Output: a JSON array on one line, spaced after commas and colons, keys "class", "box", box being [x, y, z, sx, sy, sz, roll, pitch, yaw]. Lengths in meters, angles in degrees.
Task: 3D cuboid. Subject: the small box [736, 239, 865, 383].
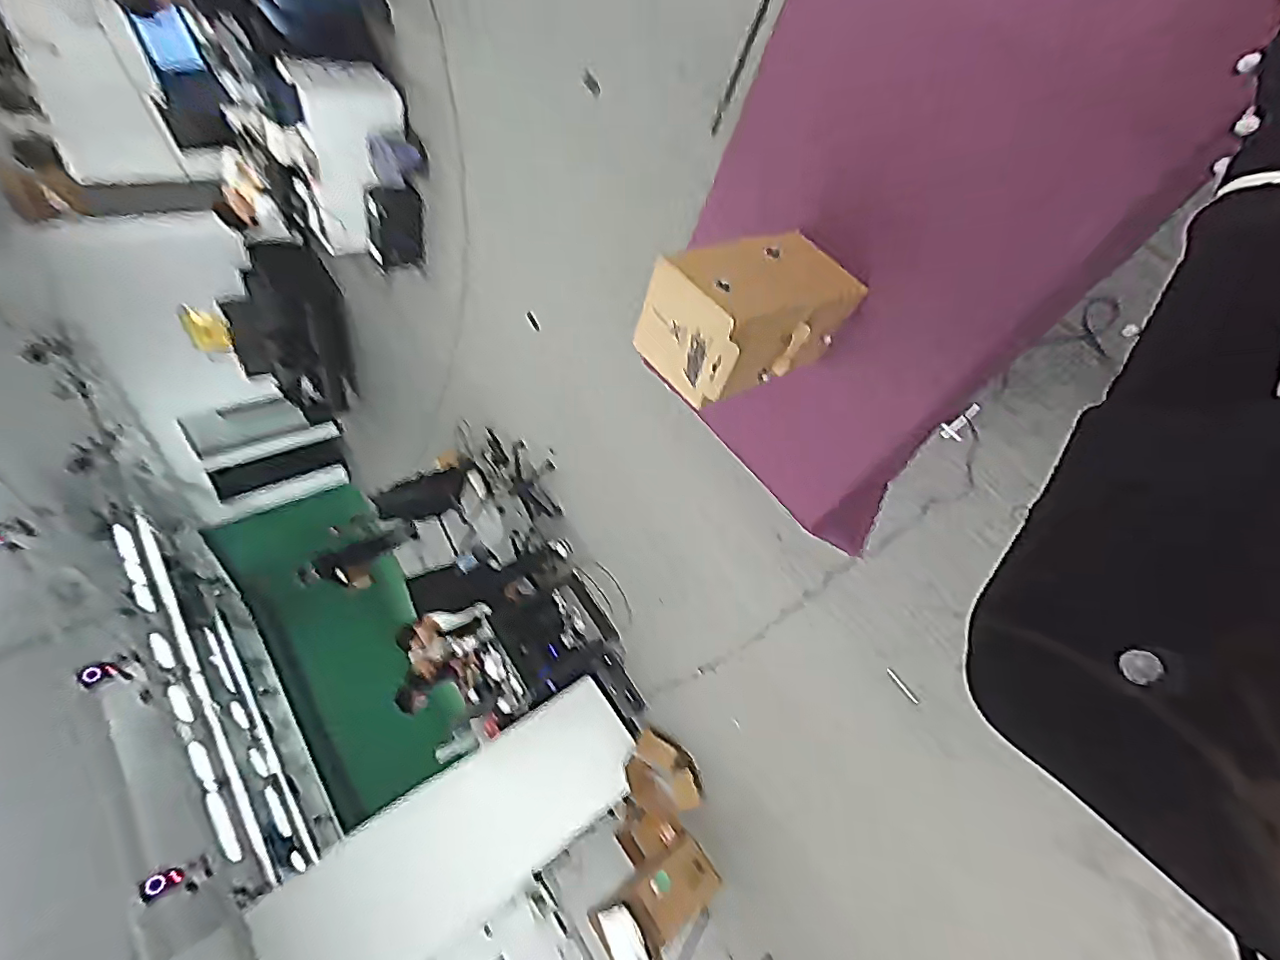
[{"class": "small box", "box": [0.250, -0.302, 0.951, 0.179, 0.176, 0.168, 51, 144, 20]}]

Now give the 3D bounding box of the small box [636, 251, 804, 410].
[{"class": "small box", "box": [0.125, -0.245, 0.861, 0.179, 0.176, 0.168, 49, 143, 24]}]
